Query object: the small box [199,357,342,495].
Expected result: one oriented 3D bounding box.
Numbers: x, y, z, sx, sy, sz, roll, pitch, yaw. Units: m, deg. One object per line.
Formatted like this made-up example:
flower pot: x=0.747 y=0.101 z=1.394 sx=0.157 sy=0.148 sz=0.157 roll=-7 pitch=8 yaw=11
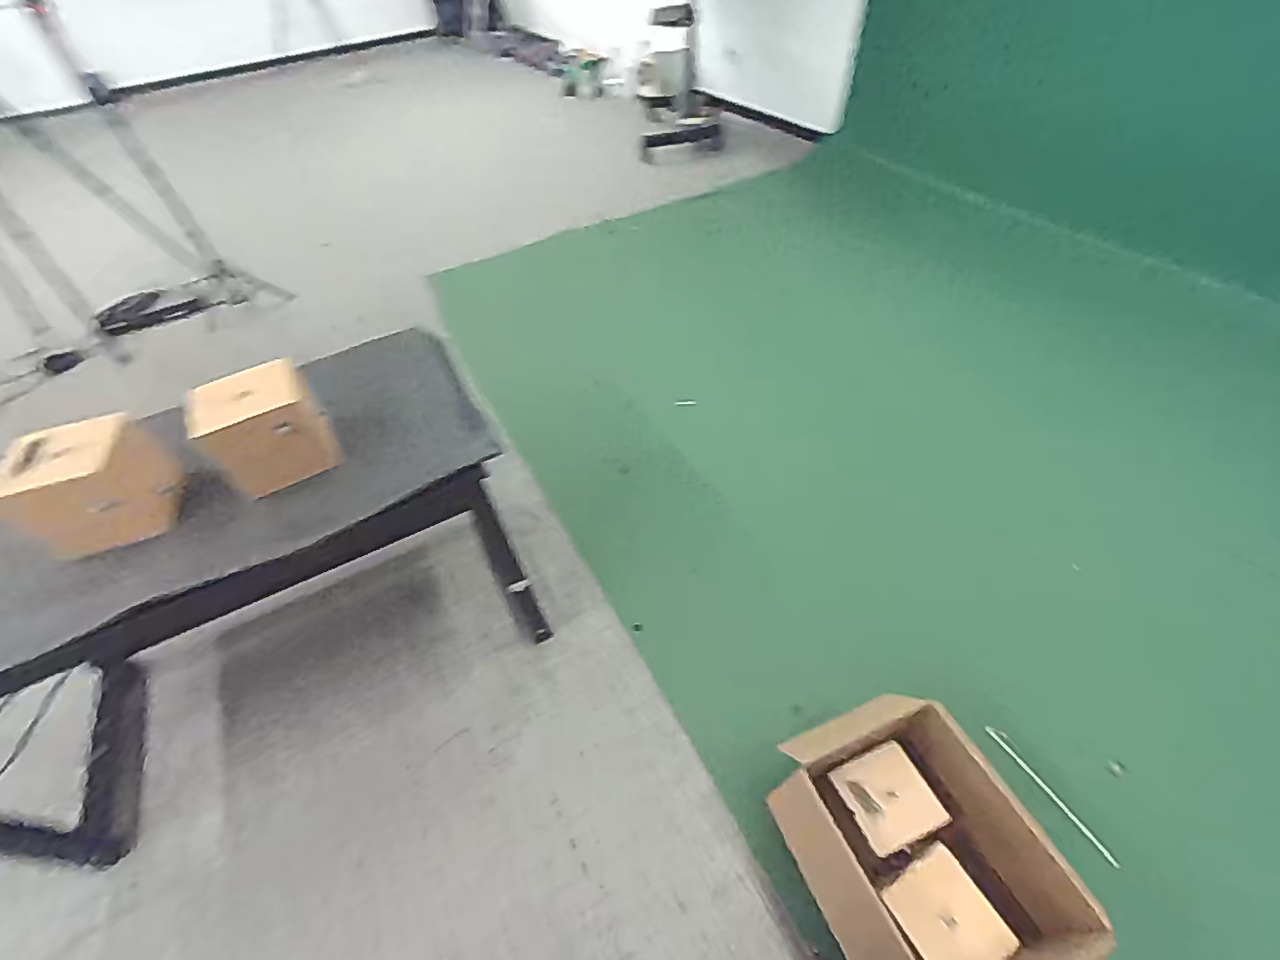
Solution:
small box: x=-0.706 y=-0.104 z=1.050 sx=0.179 sy=0.176 sz=0.168 roll=-26 pitch=51 yaw=-17
